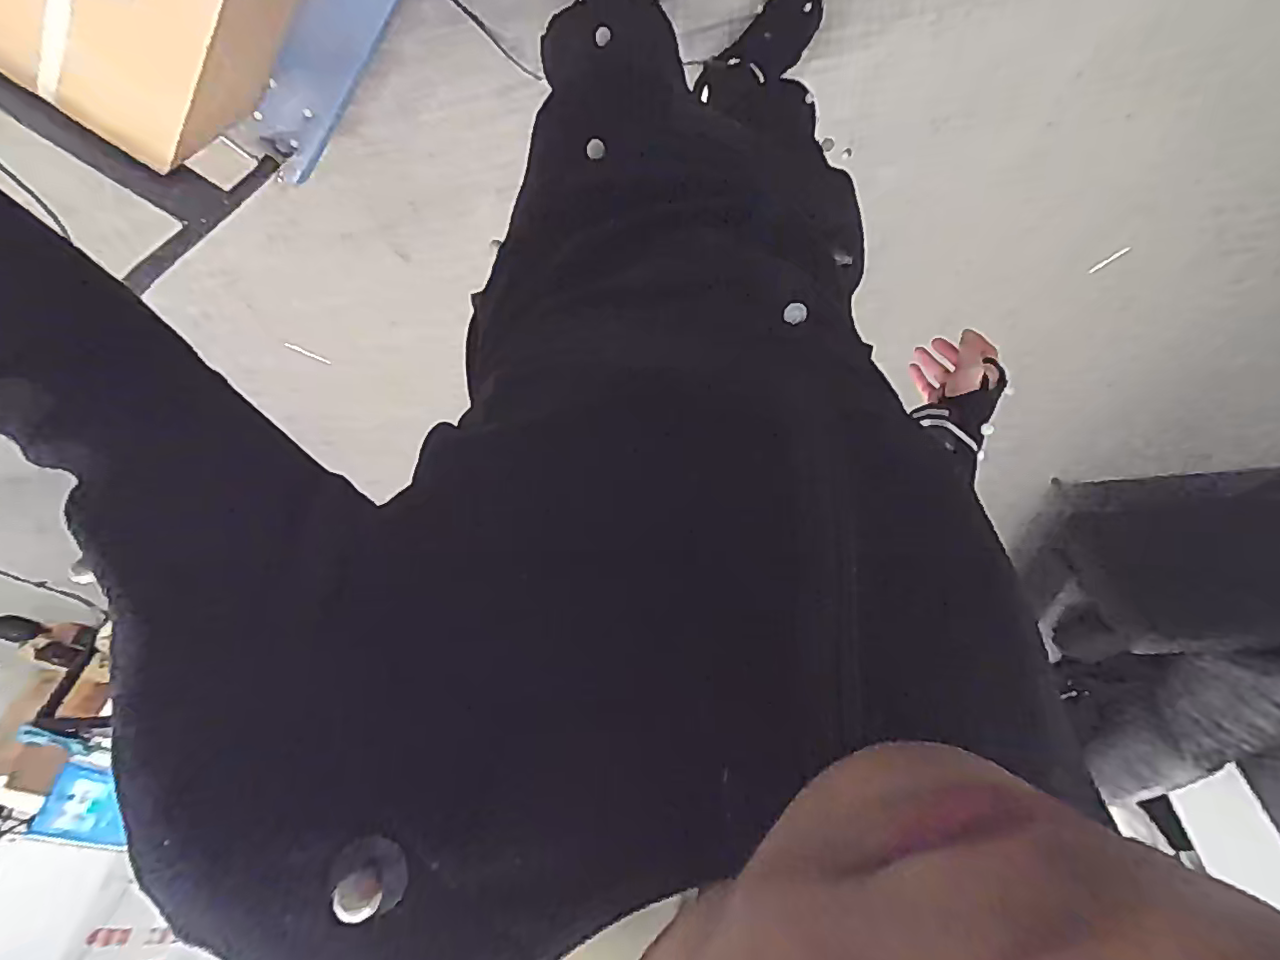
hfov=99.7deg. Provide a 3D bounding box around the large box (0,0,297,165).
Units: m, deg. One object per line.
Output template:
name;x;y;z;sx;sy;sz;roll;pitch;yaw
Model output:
large box;-0.750;-0.789;0.804;0.408;0.320;0.320;-32;130;32
